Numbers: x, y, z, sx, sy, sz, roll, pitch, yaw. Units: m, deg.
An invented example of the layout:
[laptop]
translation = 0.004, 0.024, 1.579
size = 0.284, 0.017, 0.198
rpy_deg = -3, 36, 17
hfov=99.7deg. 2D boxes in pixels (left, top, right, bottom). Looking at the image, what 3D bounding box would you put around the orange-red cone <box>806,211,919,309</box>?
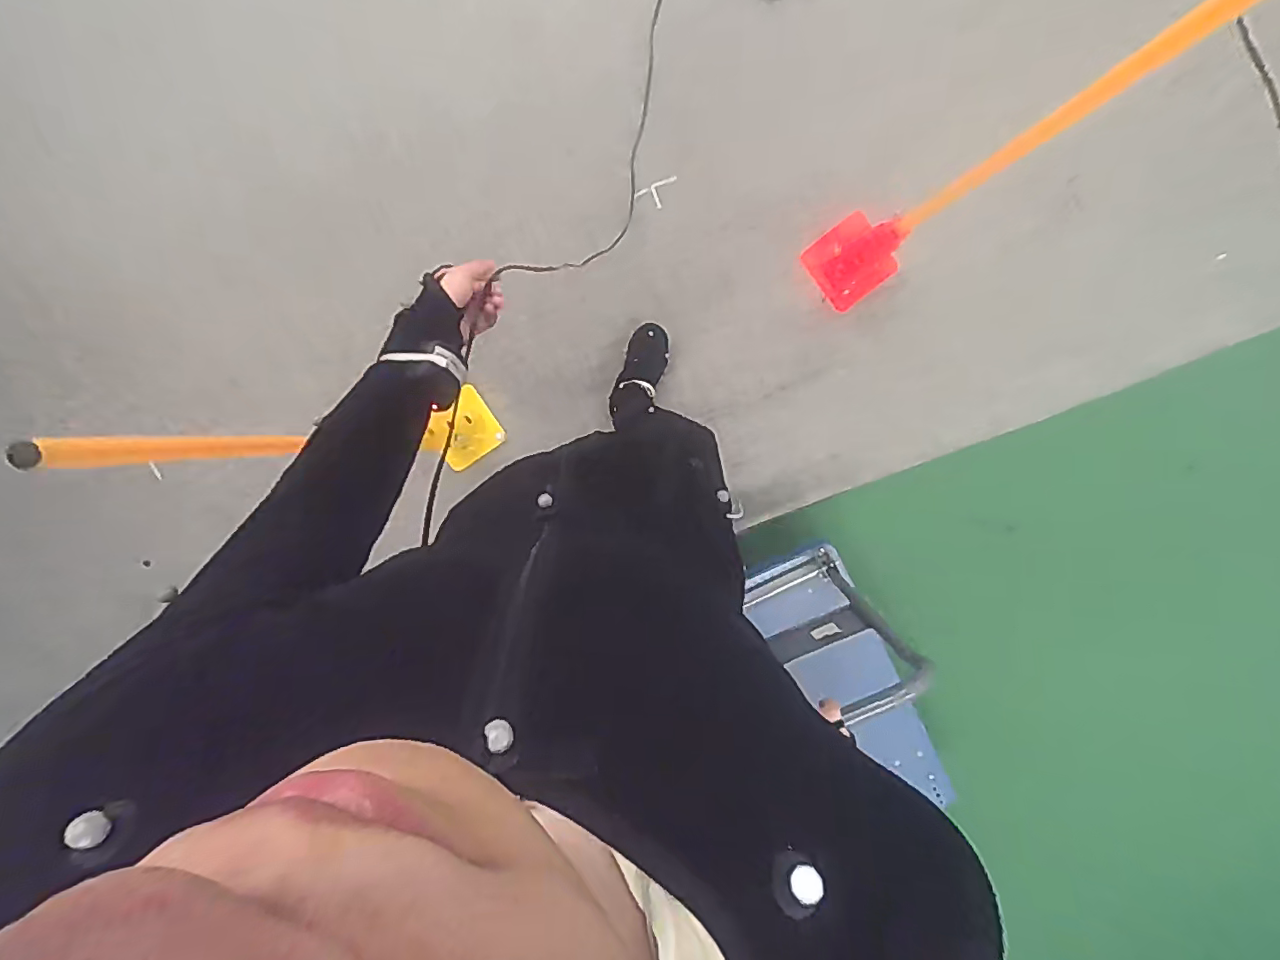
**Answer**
[orange-red cone]
translation = 0.566, -0.559, 1.287
size = 0.199, 0.360, 0.198
rpy_deg = -36, 97, 8
